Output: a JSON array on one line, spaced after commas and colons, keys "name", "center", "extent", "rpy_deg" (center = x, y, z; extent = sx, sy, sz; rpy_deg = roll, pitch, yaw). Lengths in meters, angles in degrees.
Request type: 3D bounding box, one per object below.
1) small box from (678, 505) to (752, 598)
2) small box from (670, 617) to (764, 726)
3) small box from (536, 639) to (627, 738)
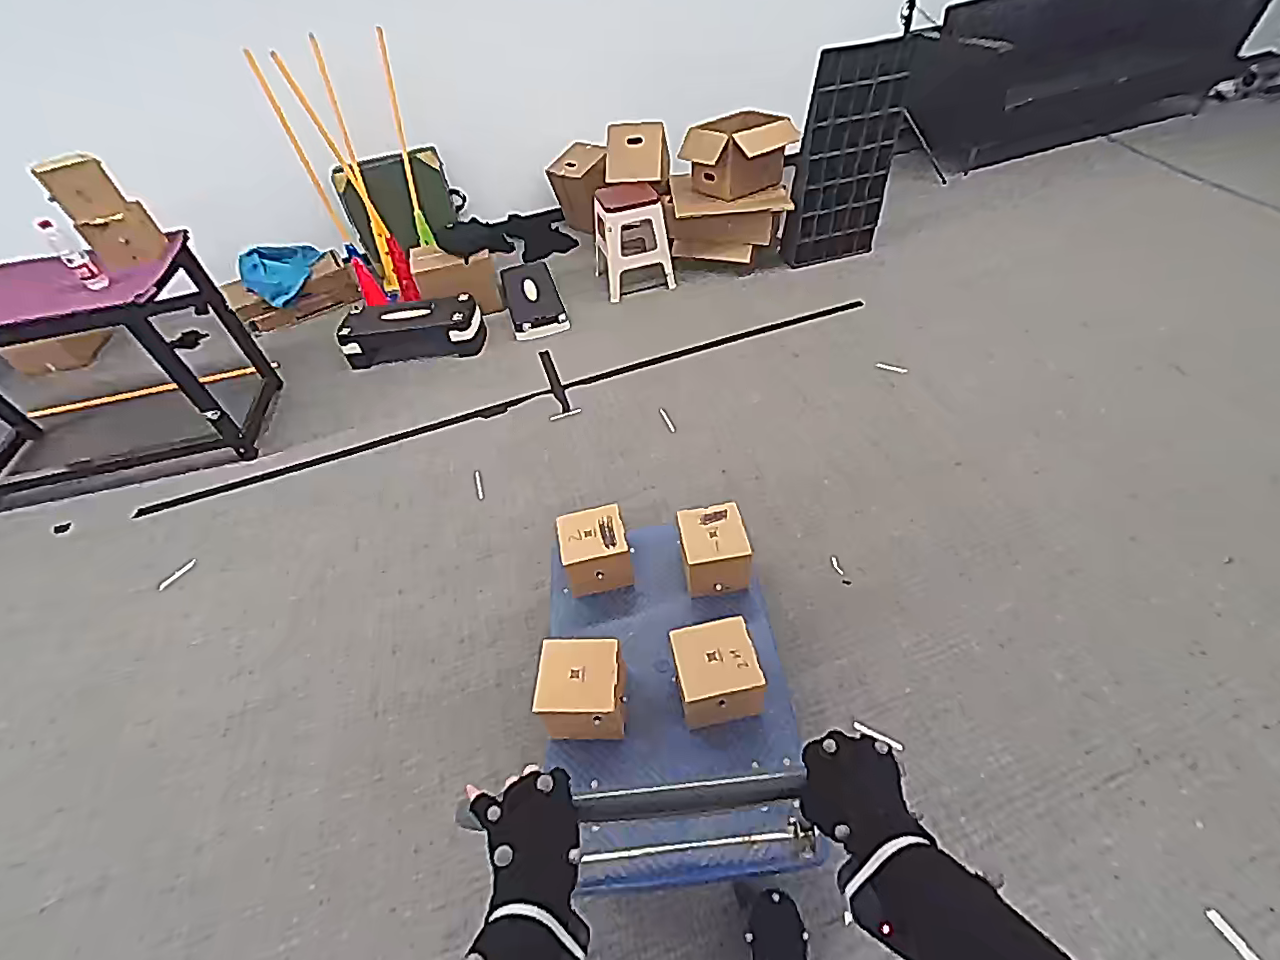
[{"name": "small box", "center": [0.199, 0.195, 1.475], "extent": [0.168, 0.176, 0.179], "rpy_deg": [-10, 48, -1]}, {"name": "small box", "center": [0.174, 0.445, 1.245], "extent": [0.179, 0.176, 0.168], "rpy_deg": [-11, 47, -3]}, {"name": "small box", "center": [-0.127, 0.484, 1.248], "extent": [0.179, 0.176, 0.168], "rpy_deg": [-2, 46, 3]}]
